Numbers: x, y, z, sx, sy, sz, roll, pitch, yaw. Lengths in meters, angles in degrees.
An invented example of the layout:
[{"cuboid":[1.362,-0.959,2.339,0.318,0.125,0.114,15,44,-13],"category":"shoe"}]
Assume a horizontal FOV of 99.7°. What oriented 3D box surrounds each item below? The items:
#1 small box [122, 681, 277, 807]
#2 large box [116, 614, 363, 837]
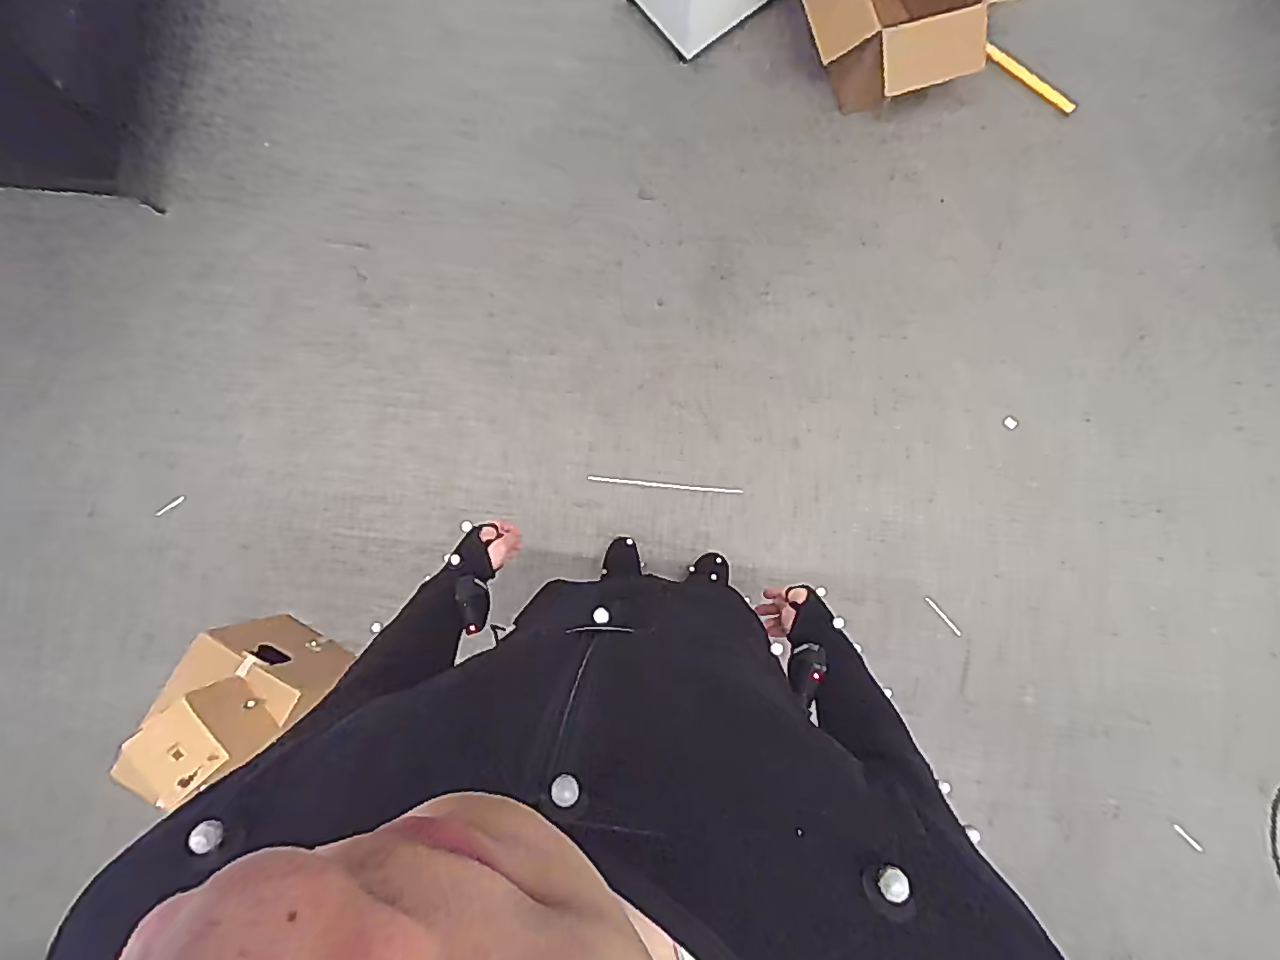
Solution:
[{"cuboid":[-0.990,0.584,1.231,0.168,0.176,0.179,-41,86,-3],"category":"small box"},{"cuboid":[-1.055,0.632,1.475,0.320,0.320,0.408,29,86,4],"category":"large box"}]
